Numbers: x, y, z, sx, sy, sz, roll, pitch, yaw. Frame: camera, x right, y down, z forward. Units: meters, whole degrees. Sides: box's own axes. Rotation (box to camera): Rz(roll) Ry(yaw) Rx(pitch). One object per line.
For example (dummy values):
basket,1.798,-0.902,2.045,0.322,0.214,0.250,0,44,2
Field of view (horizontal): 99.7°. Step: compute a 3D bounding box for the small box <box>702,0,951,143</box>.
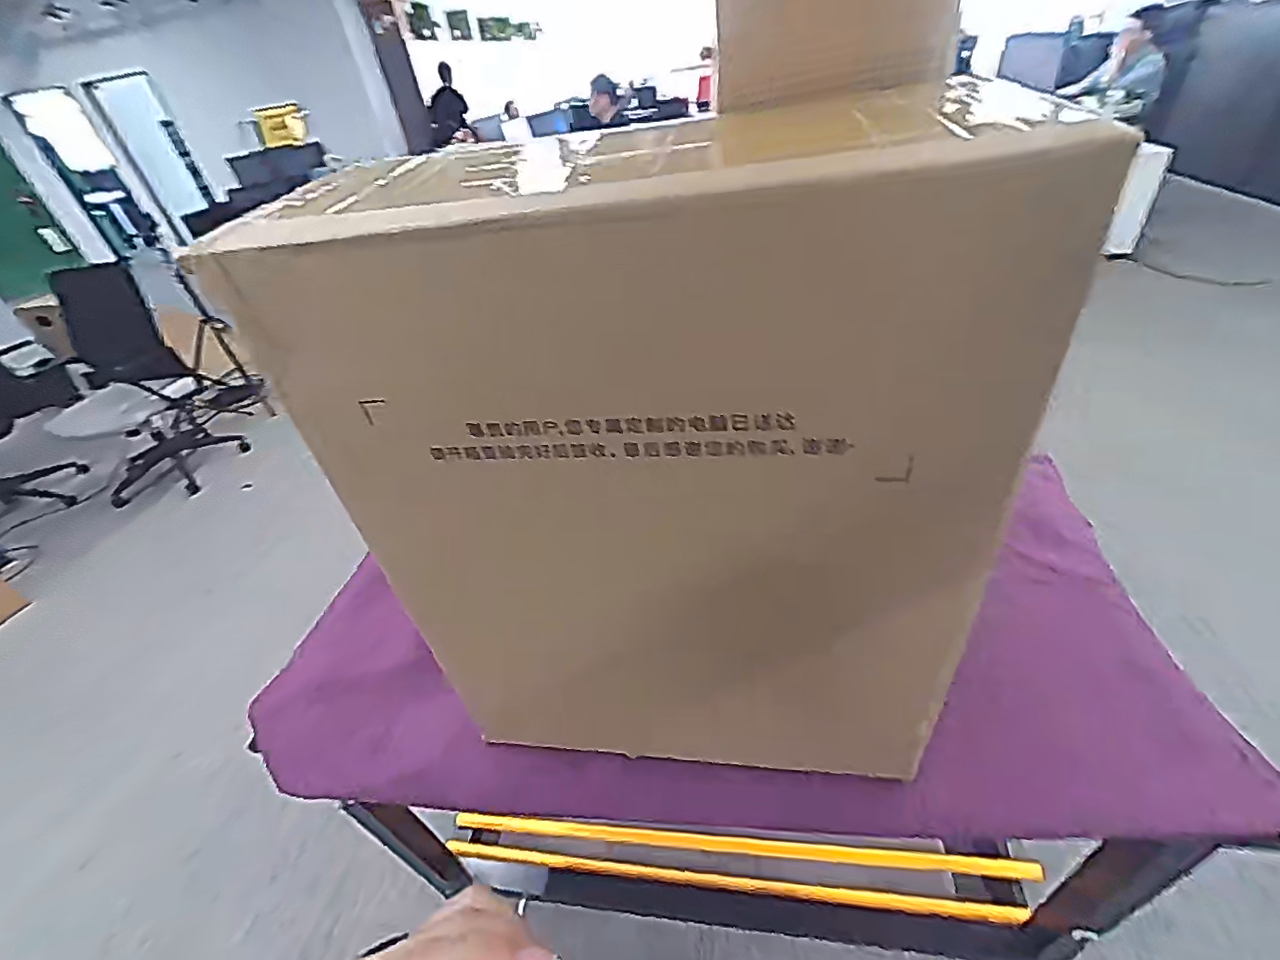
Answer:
small box,0.140,-0.393,0.437,0.179,0.176,0.168,-5,37,8
